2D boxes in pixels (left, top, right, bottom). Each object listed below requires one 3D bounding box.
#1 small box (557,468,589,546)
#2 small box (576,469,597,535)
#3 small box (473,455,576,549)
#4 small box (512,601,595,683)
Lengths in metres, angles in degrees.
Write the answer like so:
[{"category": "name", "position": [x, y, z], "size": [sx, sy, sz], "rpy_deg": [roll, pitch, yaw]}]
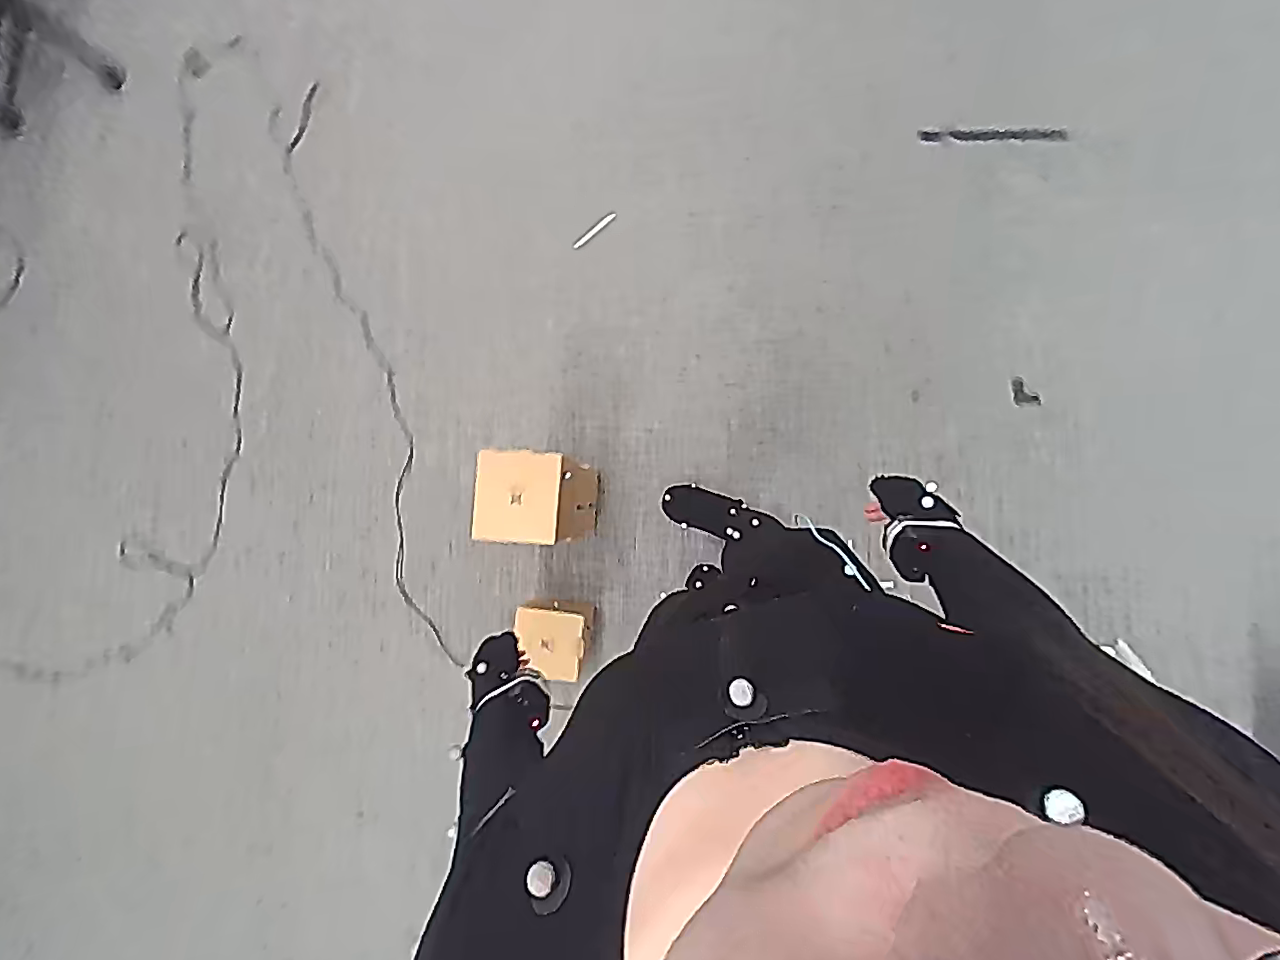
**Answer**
[{"category": "small box", "position": [-0.219, 0.058, 1.283], "size": [0.168, 0.176, 0.179], "rpy_deg": [5, 86, 4]}, {"category": "small box", "position": [-0.209, 0.059, 1.449], "size": [0.168, 0.176, 0.179], "rpy_deg": [3, 87, 4]}, {"category": "small box", "position": [-0.231, 0.046, 1.121], "size": [0.168, 0.176, 0.179], "rpy_deg": [2, 86, 5]}, {"category": "small box", "position": [-0.221, 0.421, 1.429], "size": [0.179, 0.176, 0.168], "rpy_deg": [6, 86, 5]}]
